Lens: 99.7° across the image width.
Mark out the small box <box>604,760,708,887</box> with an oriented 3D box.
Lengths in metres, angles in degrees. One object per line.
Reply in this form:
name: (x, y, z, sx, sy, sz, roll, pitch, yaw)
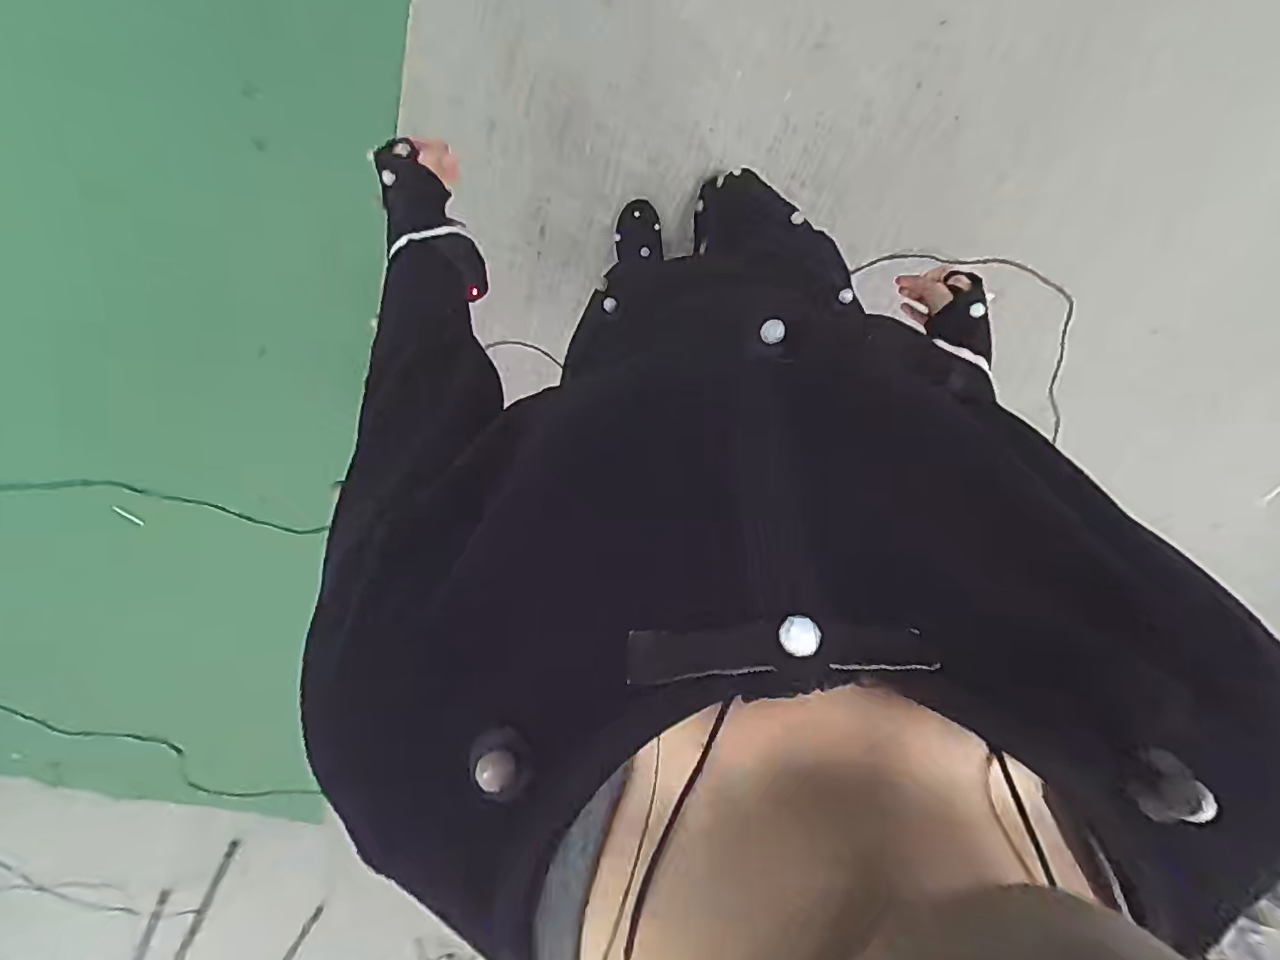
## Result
small box: (0.027, 0.732, 1.160, 0.168, 0.176, 0.179, 18, 120, -12)
